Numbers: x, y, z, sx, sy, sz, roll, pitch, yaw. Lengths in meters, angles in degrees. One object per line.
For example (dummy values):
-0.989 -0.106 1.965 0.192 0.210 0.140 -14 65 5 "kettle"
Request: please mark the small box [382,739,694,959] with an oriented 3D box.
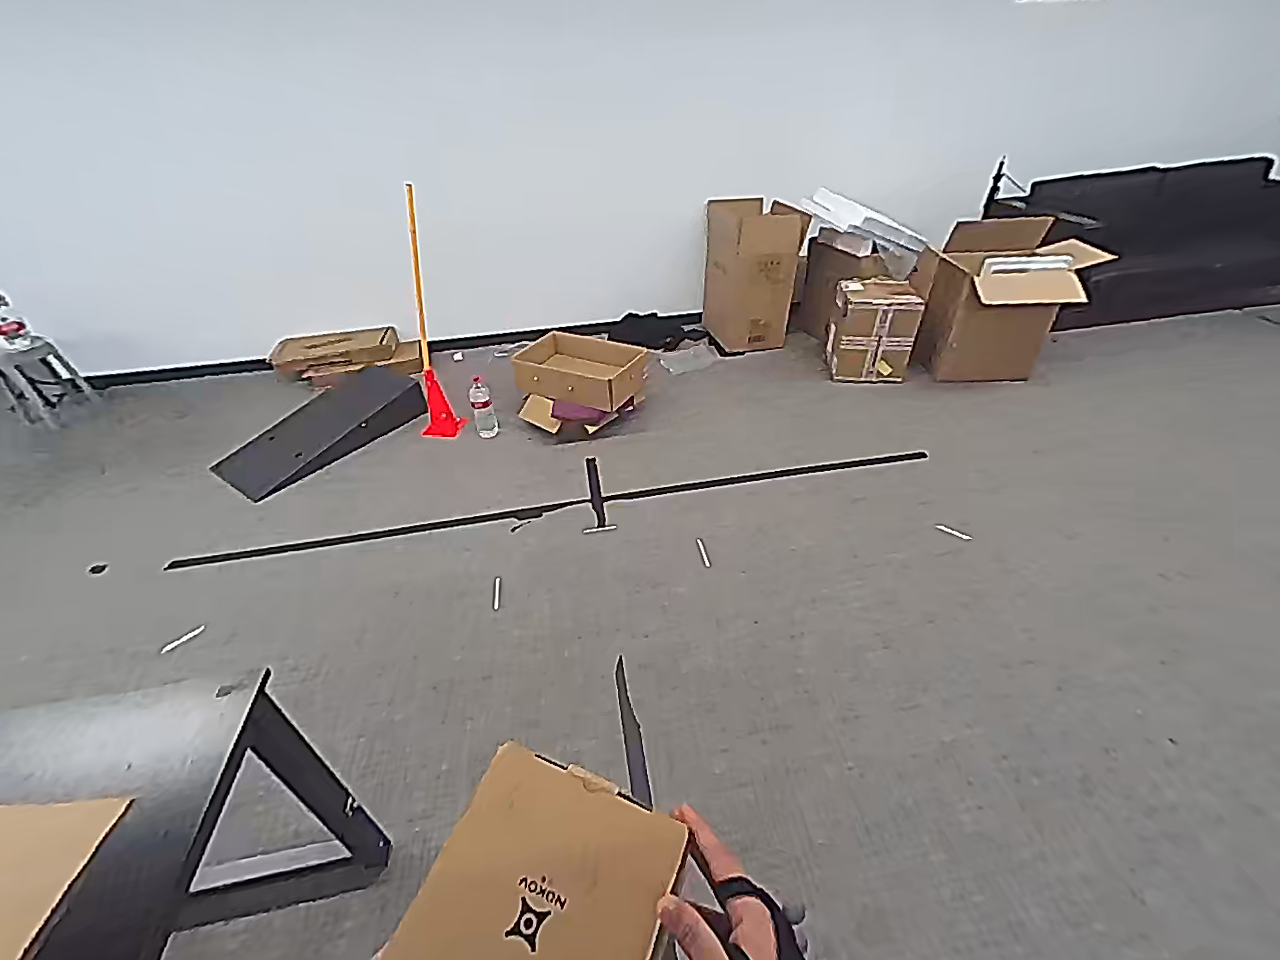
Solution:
-0.066 0.350 0.430 0.168 0.176 0.179 16 48 18 "small box"
